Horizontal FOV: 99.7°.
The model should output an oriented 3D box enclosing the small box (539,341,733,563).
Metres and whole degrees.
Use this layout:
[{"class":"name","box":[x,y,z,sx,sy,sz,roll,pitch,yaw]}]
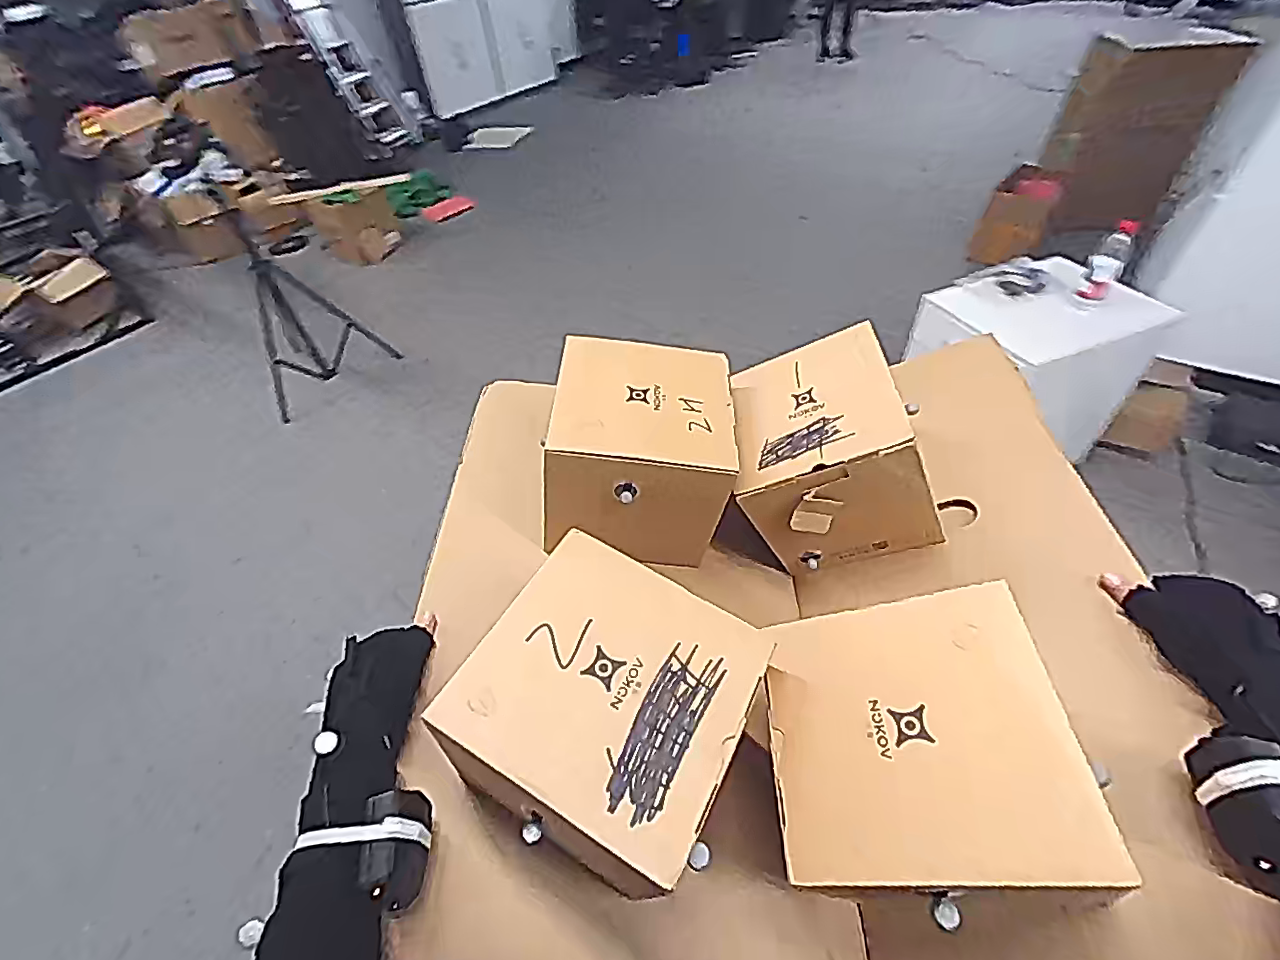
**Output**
[{"class":"small box","box":[-0.009,-0.024,0.587,0.179,0.176,0.168,7,51,-5]}]
